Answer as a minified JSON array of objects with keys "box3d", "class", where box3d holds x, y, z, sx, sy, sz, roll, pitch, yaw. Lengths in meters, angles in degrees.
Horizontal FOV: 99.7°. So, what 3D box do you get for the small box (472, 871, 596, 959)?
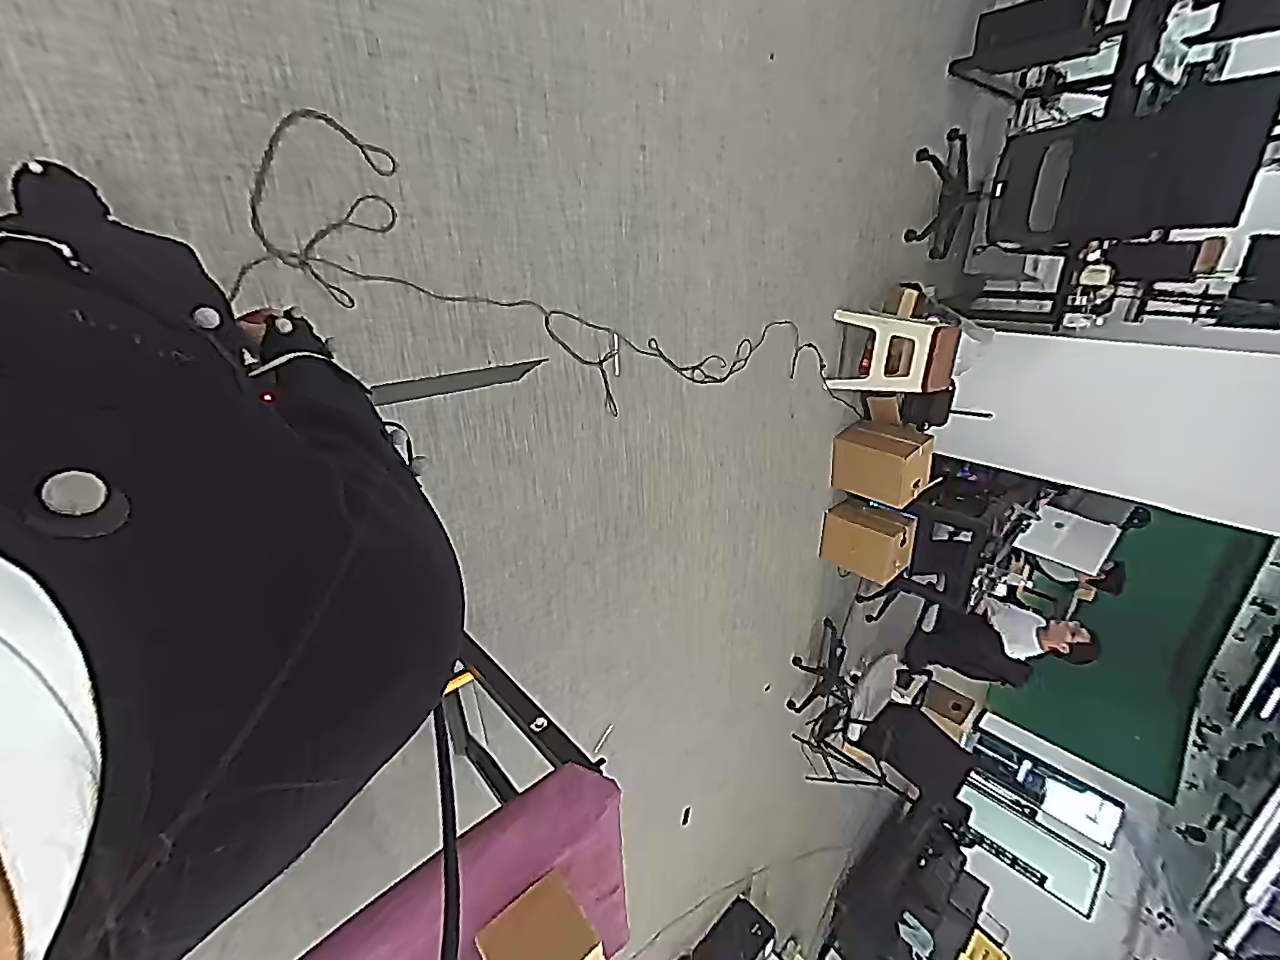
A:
[{"box3d":[-0.198,0.899,1.011,0.179,0.176,0.168,-22,122,-35],"class":"small box"}]
